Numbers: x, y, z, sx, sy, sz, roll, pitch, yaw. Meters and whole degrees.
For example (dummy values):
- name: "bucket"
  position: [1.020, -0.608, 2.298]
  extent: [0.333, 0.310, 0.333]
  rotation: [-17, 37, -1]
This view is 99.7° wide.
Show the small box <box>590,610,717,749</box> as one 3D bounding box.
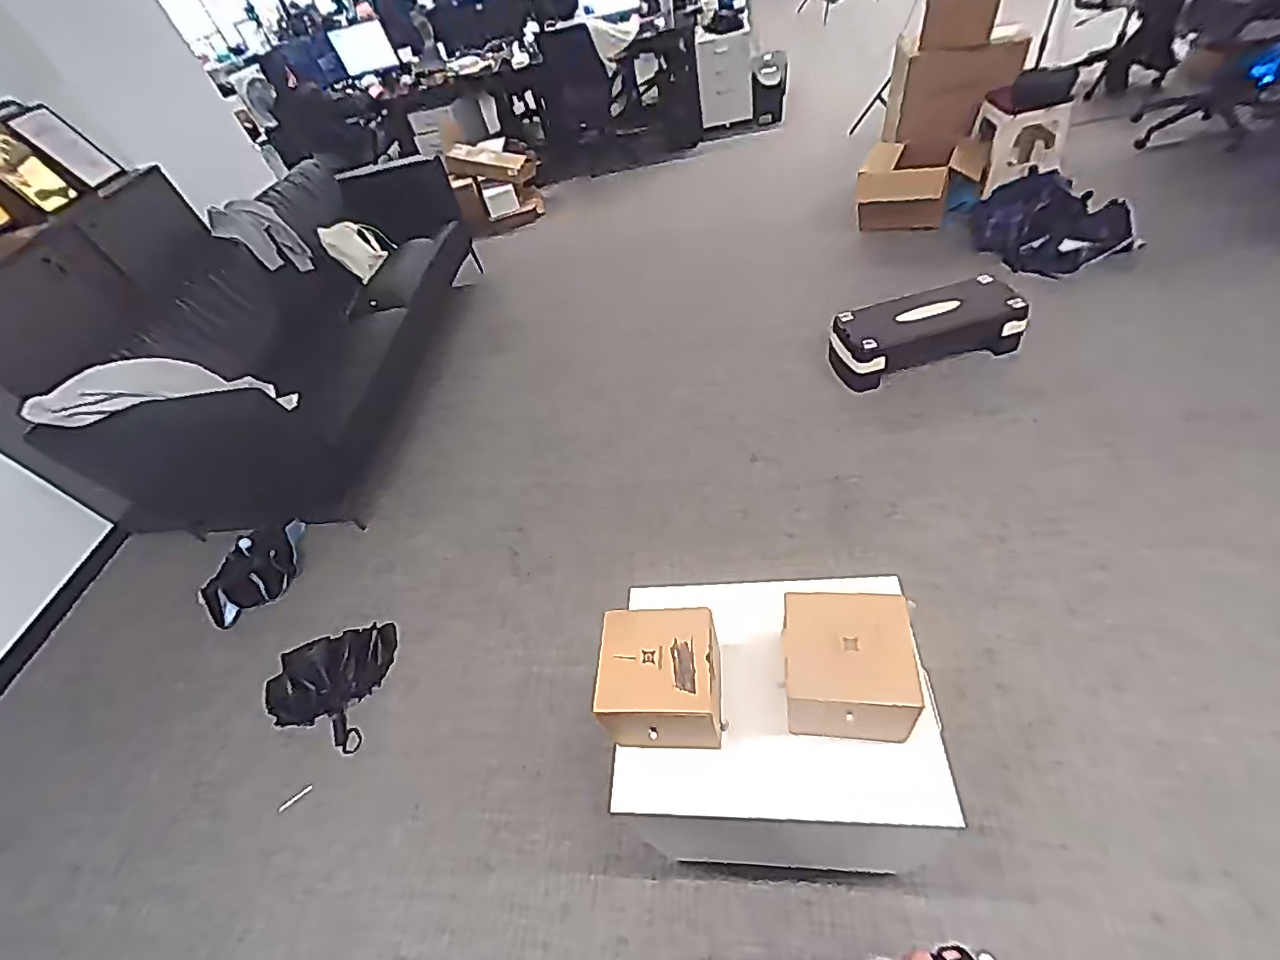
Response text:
- name: "small box"
  position: [0.033, 0.325, 0.879]
  extent: [0.179, 0.176, 0.168]
  rotation: [-5, 48, 12]

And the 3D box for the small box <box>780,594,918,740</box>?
- name: "small box"
  position: [0.310, 0.290, 0.836]
  extent: [0.179, 0.176, 0.168]
  rotation: [-2, 50, 14]
